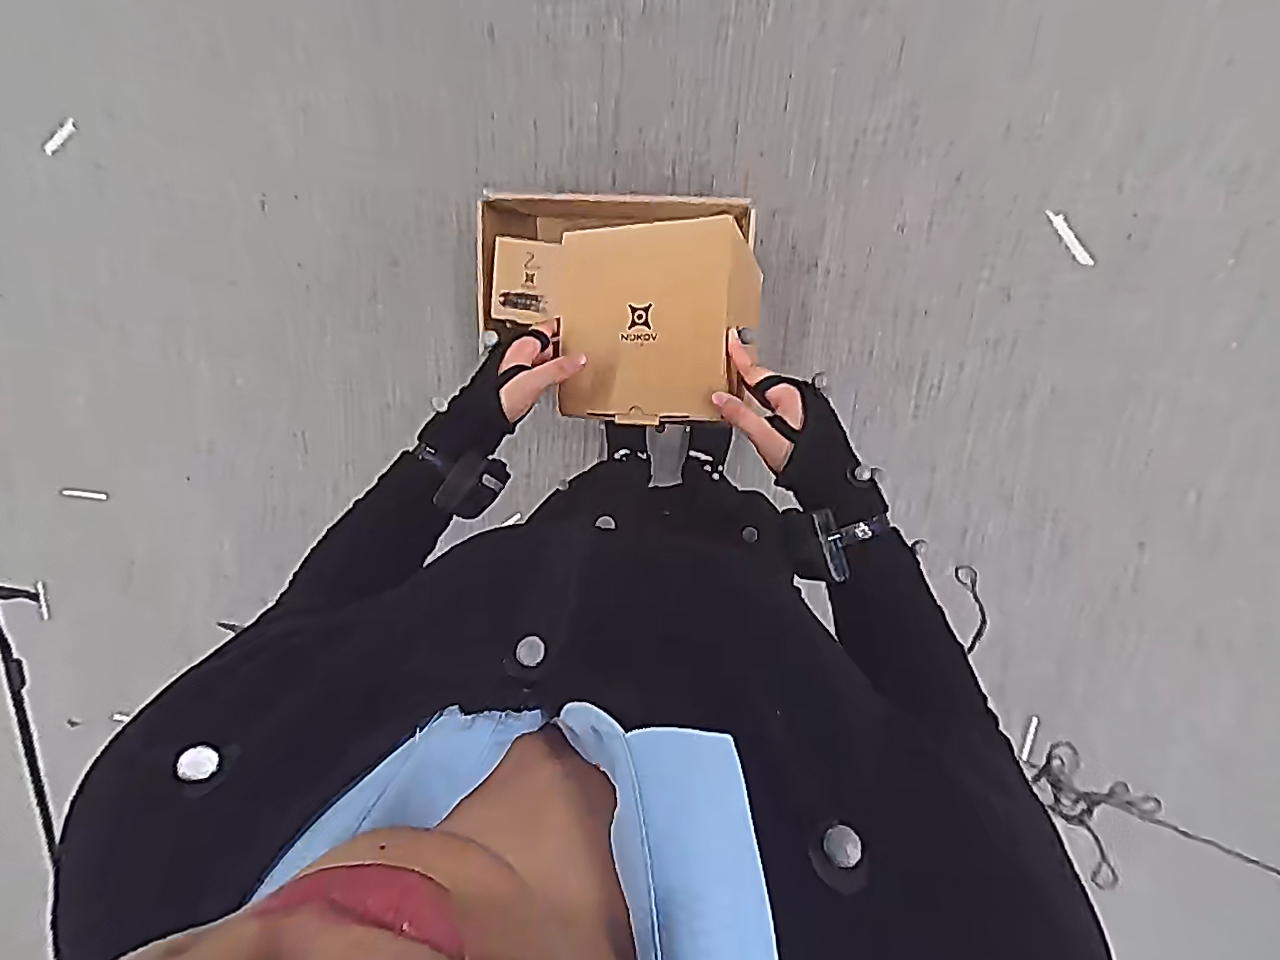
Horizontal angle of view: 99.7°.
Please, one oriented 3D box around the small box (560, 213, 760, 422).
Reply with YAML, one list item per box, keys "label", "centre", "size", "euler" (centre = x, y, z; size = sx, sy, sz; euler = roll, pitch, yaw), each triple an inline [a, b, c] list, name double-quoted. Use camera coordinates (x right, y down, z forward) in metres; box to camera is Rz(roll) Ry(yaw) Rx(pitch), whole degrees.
- label: "small box"
  centre: [0.030, -0.153, 0.568]
  size: [0.168, 0.176, 0.179]
  euler: [4, 97, 21]
